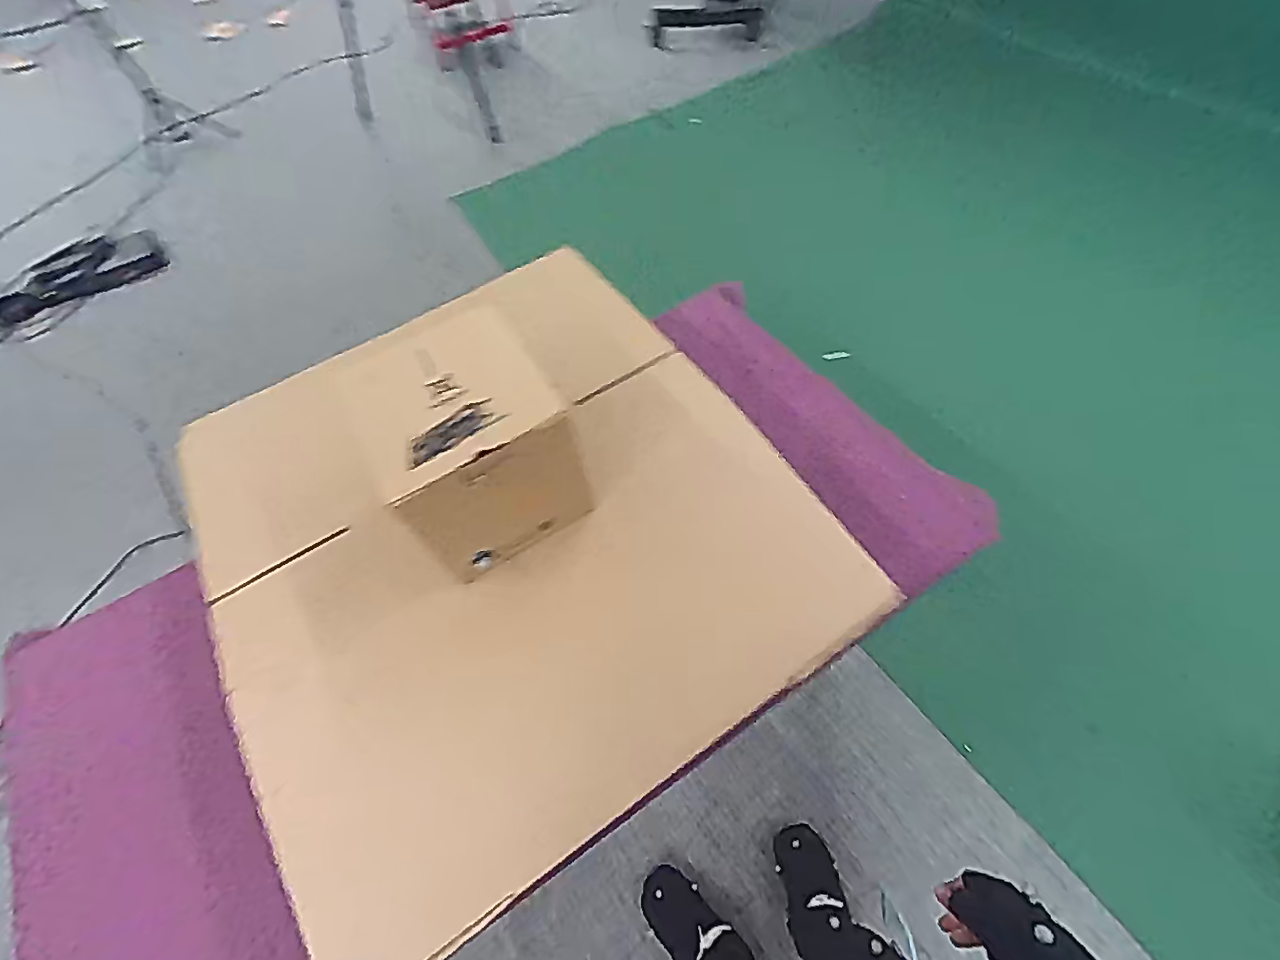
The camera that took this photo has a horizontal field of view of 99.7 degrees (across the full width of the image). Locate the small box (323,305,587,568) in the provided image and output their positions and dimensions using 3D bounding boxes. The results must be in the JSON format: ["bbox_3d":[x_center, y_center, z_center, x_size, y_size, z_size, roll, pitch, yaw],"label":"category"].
[{"bbox_3d":[-0.171,-0.032,0.546,0.168,0.176,0.179,-34,63,-16],"label":"small box"}]
